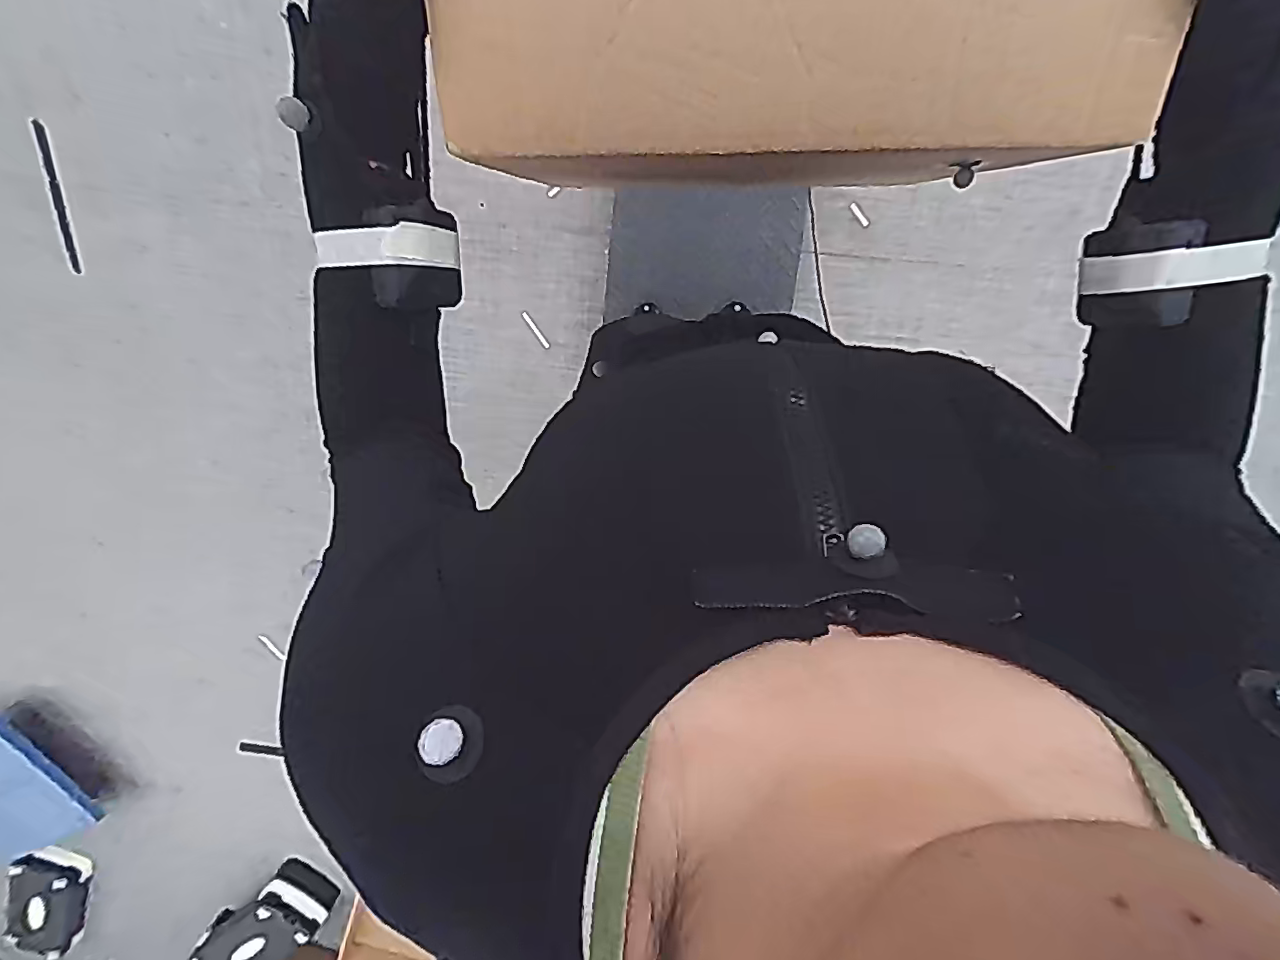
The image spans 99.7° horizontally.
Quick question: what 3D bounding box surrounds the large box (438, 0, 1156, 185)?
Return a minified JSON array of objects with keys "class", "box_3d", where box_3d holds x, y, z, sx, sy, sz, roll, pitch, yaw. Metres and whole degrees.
[{"class":"large box","box_3d":[0.090,-0.403,0.399,0.408,0.320,0.320,1,115,3]}]
